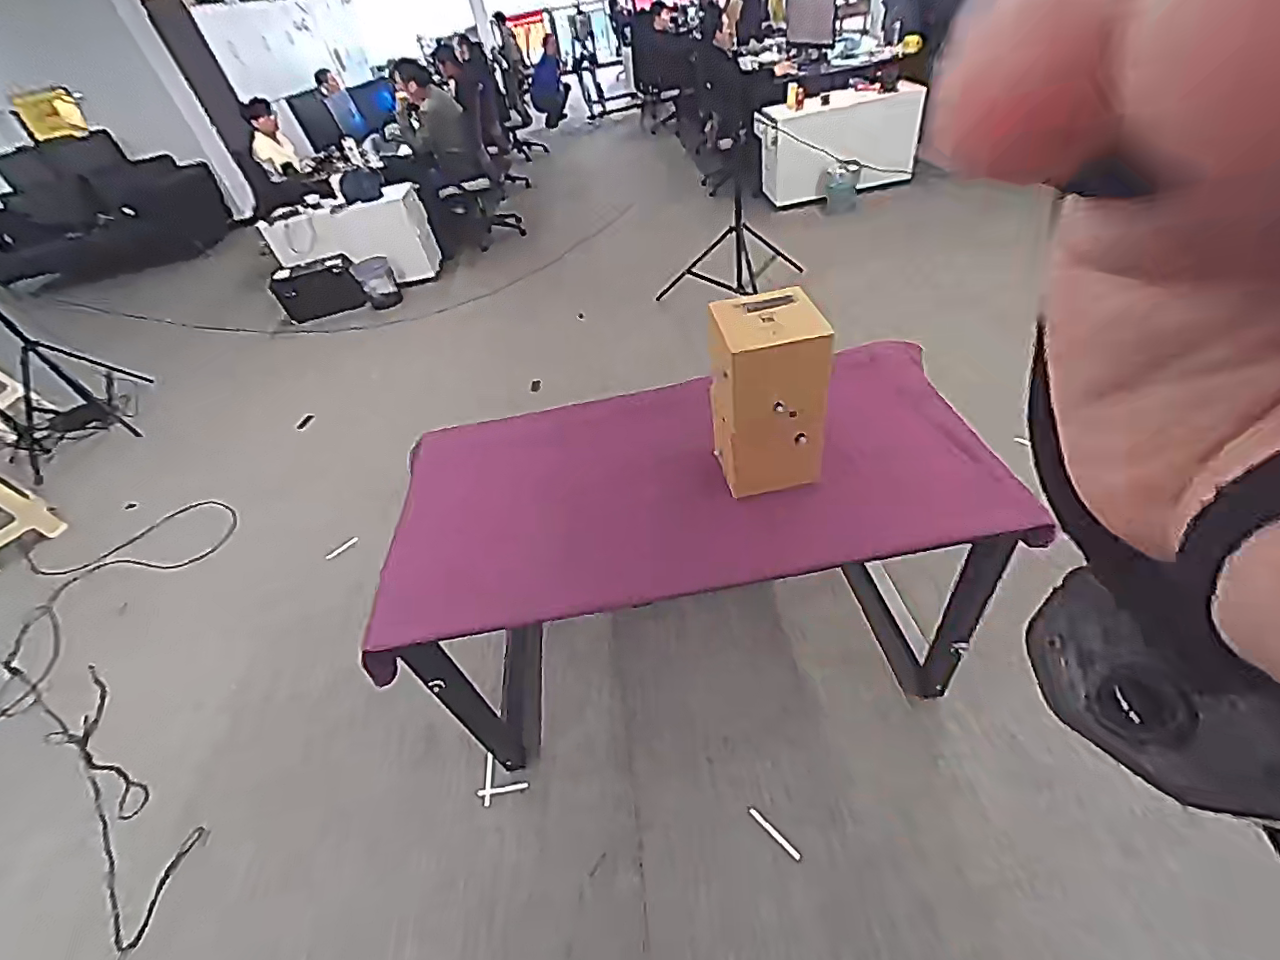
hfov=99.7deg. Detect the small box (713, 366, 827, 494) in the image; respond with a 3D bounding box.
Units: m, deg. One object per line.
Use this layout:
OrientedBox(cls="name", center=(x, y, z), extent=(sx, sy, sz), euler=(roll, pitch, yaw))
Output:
OrientedBox(cls="small box", center=(0.249, -0.095, 1.064), extent=(0.179, 0.176, 0.168), euler=(-12, 42, 1))
